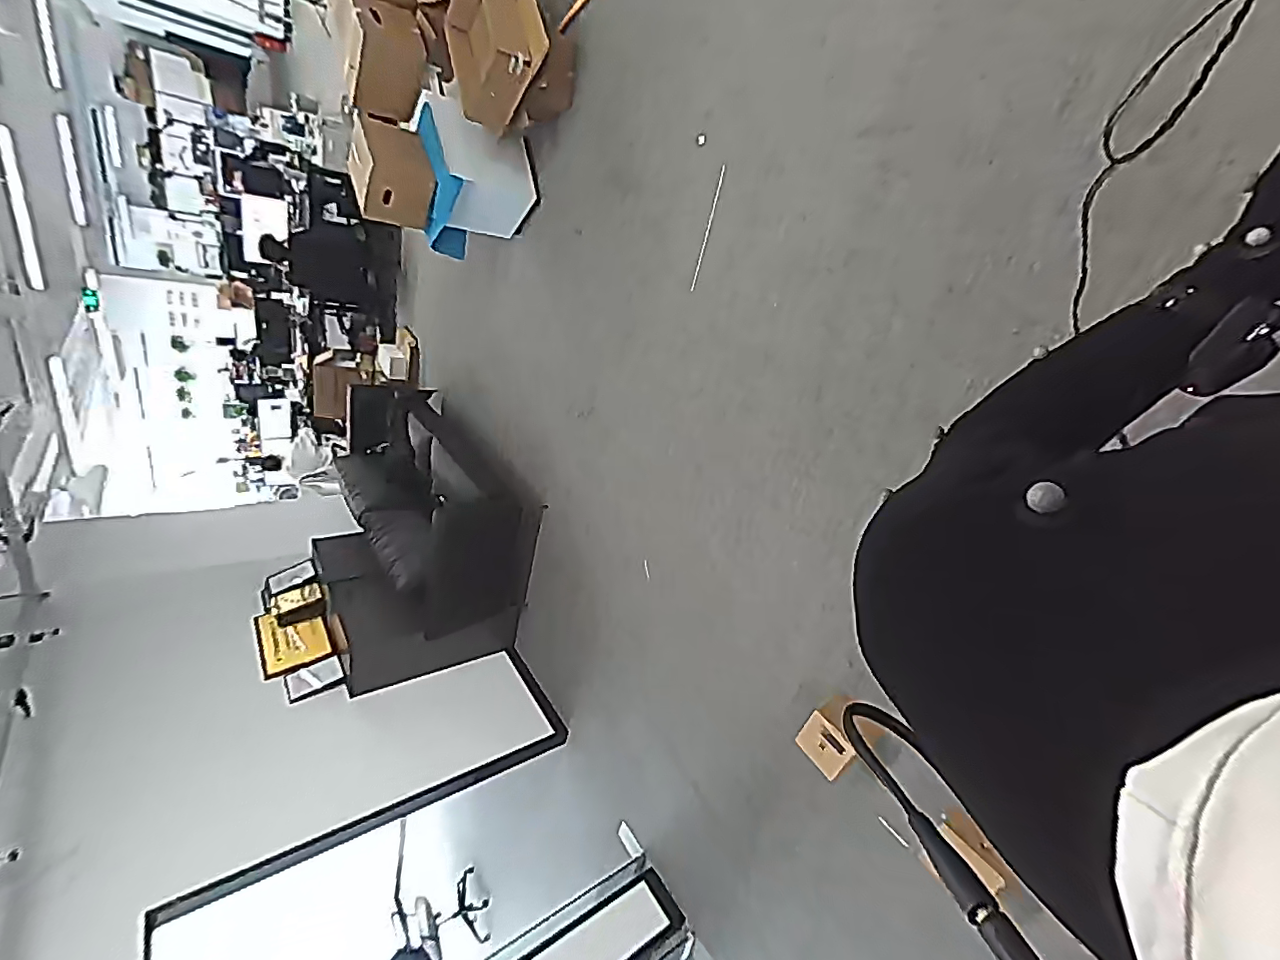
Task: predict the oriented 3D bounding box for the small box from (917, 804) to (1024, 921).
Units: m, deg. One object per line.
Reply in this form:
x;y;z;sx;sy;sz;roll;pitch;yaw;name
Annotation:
0.922;1.054;1.505;0.179;0.176;0.168;39;123;43;small box
